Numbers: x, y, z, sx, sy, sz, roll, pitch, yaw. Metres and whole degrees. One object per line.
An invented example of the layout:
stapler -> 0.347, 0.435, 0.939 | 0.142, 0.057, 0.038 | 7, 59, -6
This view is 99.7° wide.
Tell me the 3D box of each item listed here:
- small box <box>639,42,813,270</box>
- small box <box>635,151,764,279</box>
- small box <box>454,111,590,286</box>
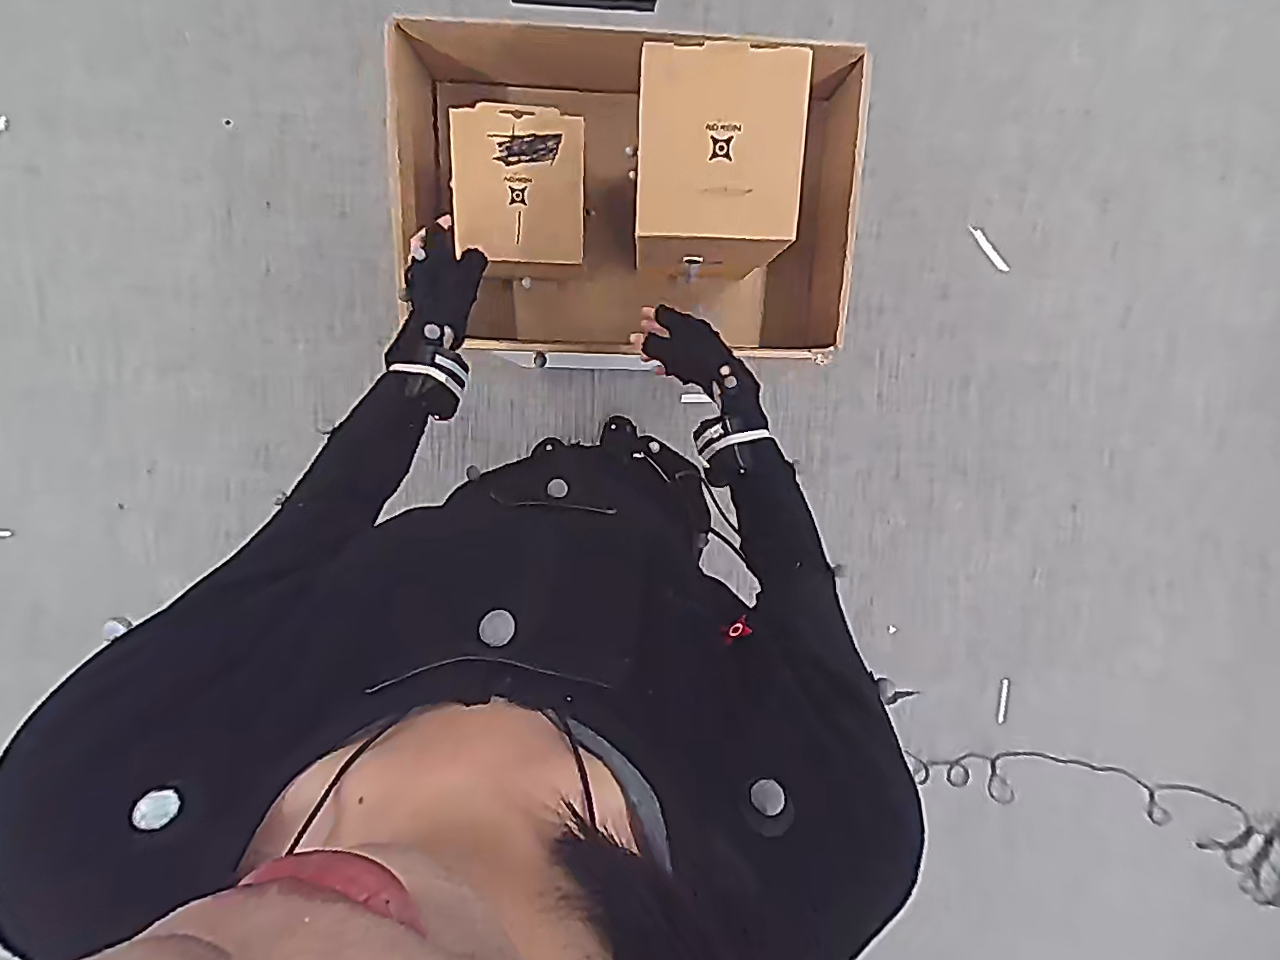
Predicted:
small box -> 0.084, -0.348, 0.612 | 0.168, 0.176, 0.179 | 2, 102, 1
small box -> 0.085, -0.387, 0.771 | 0.179, 0.176, 0.168 | 2, 101, -1
small box -> -0.156, -0.380, 0.759 | 0.168, 0.176, 0.179 | 1, 102, -4
